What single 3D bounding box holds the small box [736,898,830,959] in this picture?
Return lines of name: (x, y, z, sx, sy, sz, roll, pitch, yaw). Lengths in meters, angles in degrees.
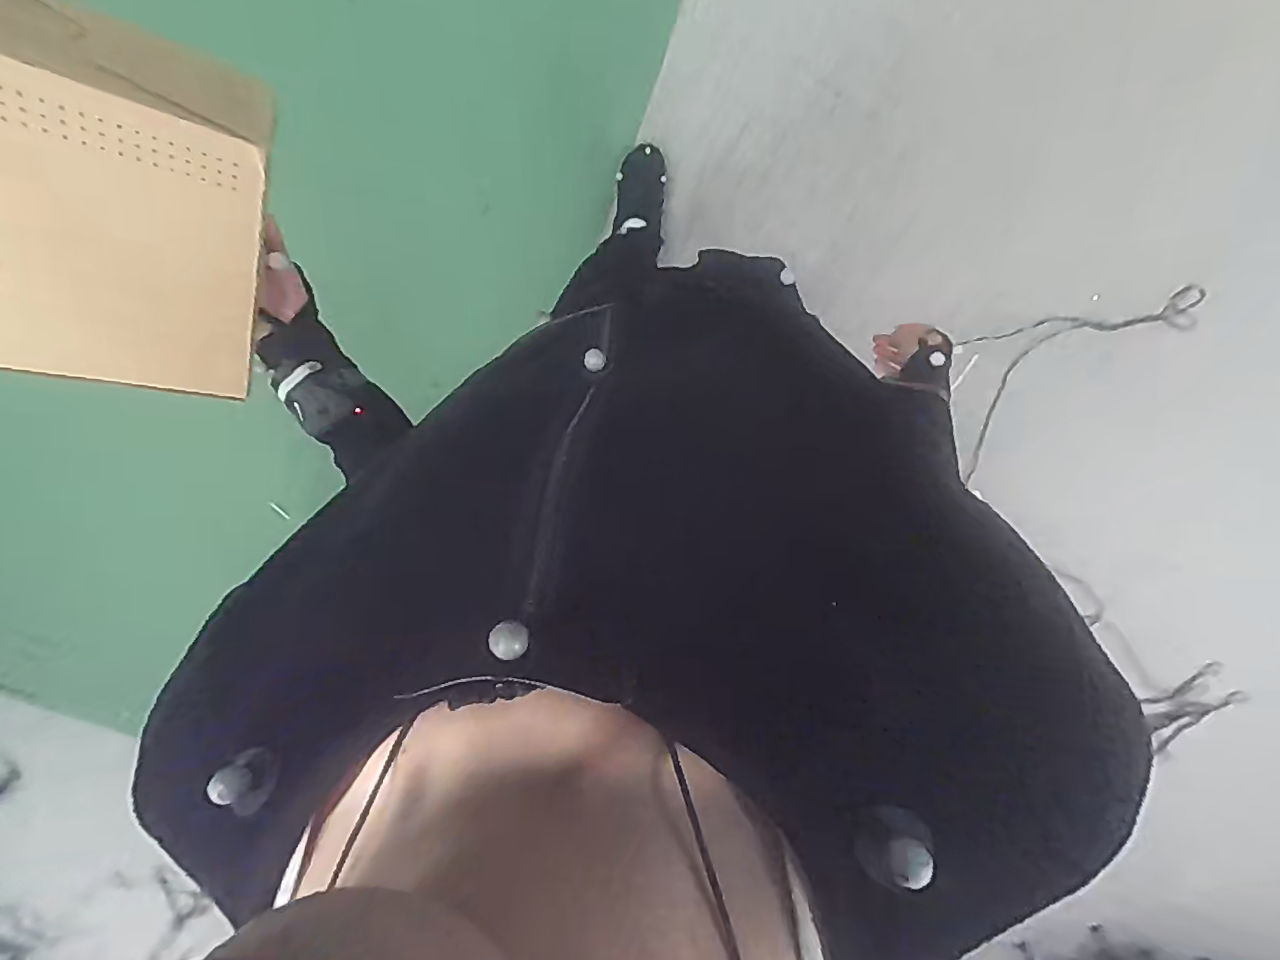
small box: (0.359, 1.187, 1.346, 0.179, 0.176, 0.168, 35, 115, -12)
